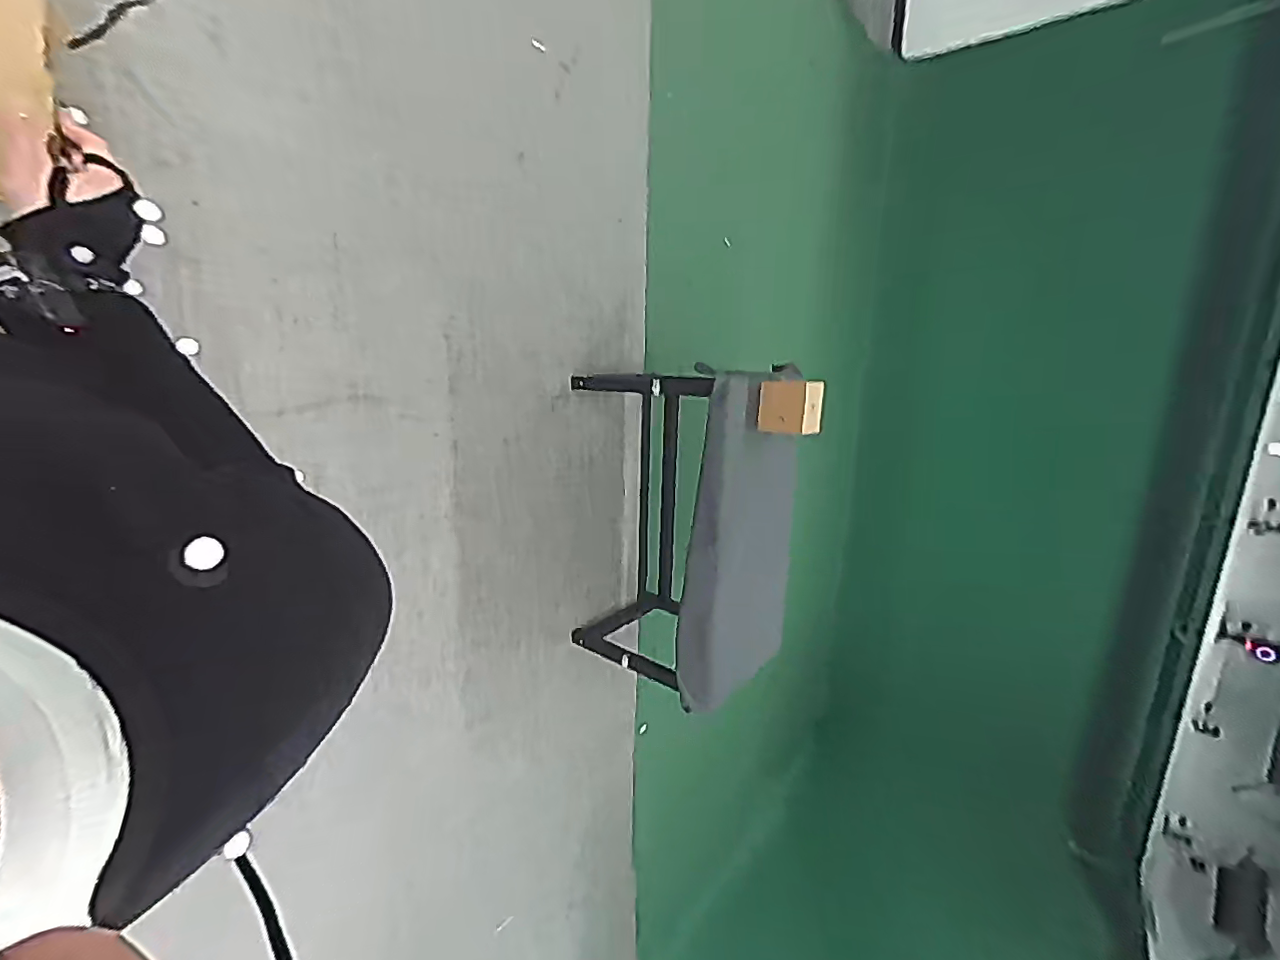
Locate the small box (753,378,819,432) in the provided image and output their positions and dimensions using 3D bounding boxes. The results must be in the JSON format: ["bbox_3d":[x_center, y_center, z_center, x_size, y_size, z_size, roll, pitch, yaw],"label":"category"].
[{"bbox_3d":[0.515,-0.267,1.919,0.168,0.176,0.179,-10,107,-53],"label":"small box"}]

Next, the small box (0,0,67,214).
[{"bbox_3d":[-0.585,-0.331,0.429,0.179,0.176,0.168,-1,113,-44],"label":"small box"}]
